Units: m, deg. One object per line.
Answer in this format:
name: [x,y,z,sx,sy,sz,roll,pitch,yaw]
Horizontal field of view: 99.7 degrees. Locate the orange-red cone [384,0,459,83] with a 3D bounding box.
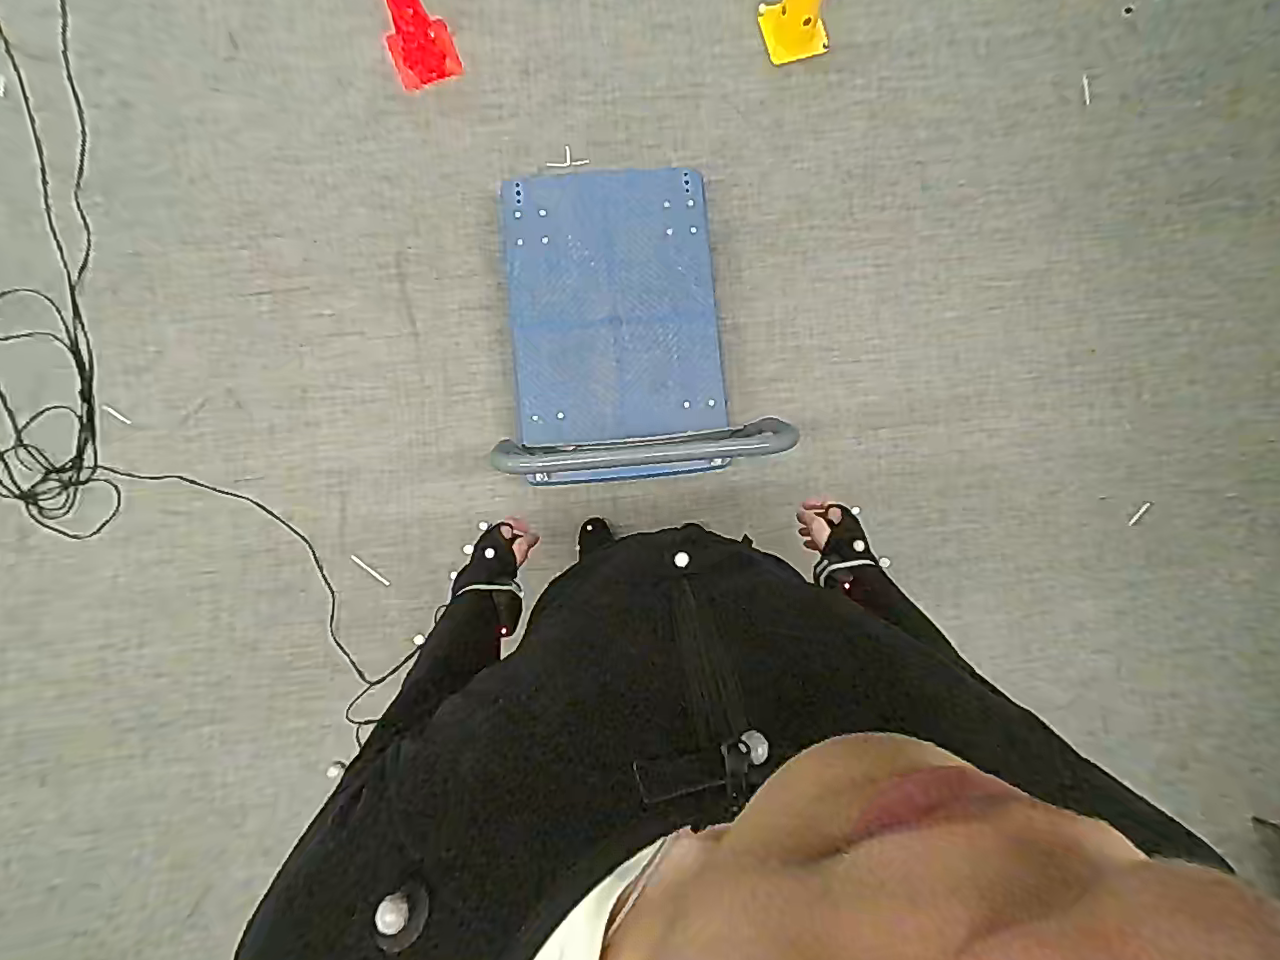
orange-red cone: [-0.679,-1.365,1.526,0.199,0.360,0.198,-20,87,-2]
